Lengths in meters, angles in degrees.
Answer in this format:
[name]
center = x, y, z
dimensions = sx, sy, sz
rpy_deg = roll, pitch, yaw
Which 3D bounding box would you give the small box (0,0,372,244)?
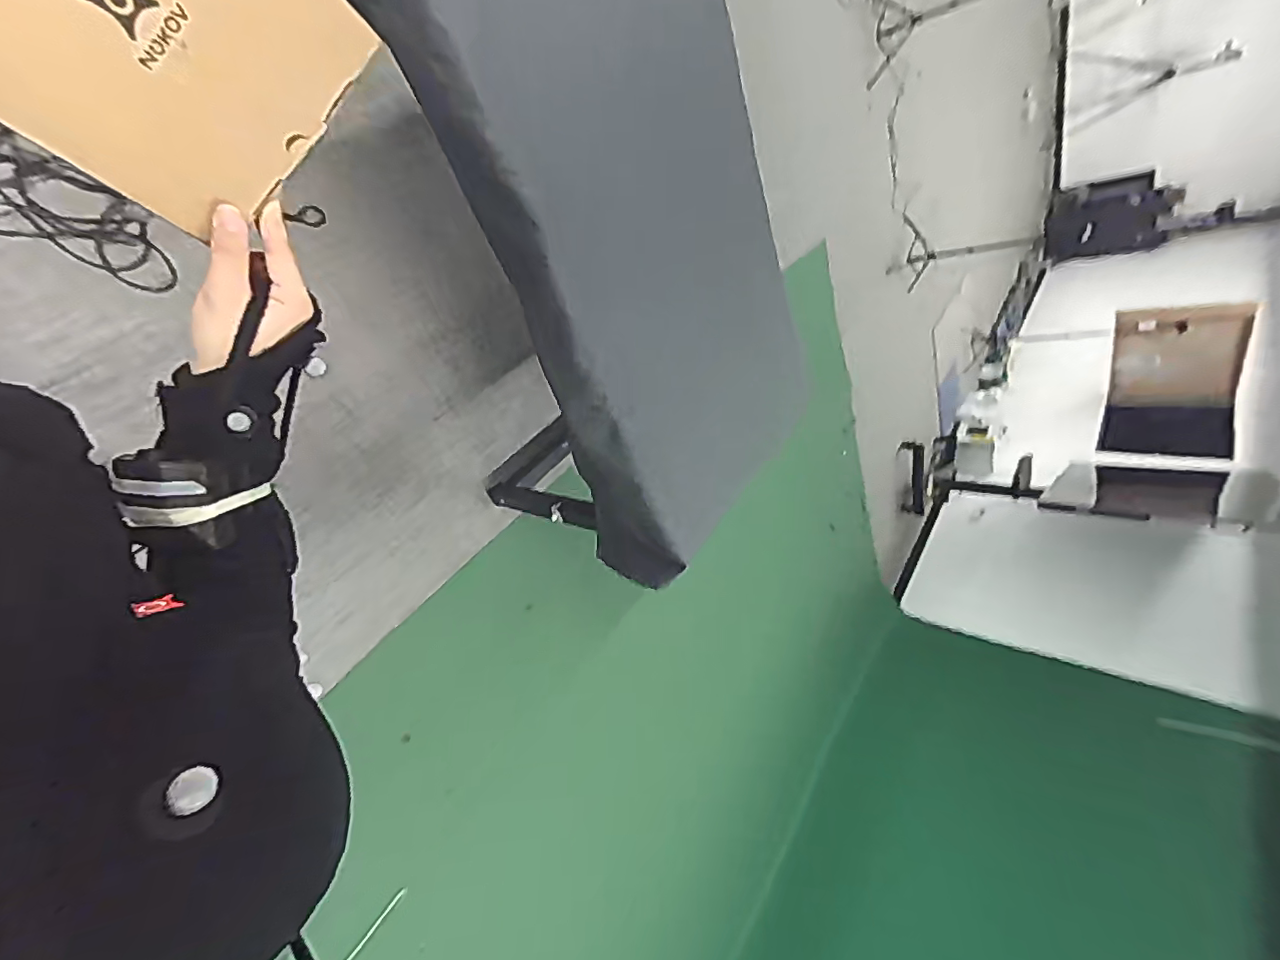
[small box]
center = -0.299, -0.277, 0.302
dimensions = 0.168, 0.176, 0.179
rpy_deg = -49, 147, 6
